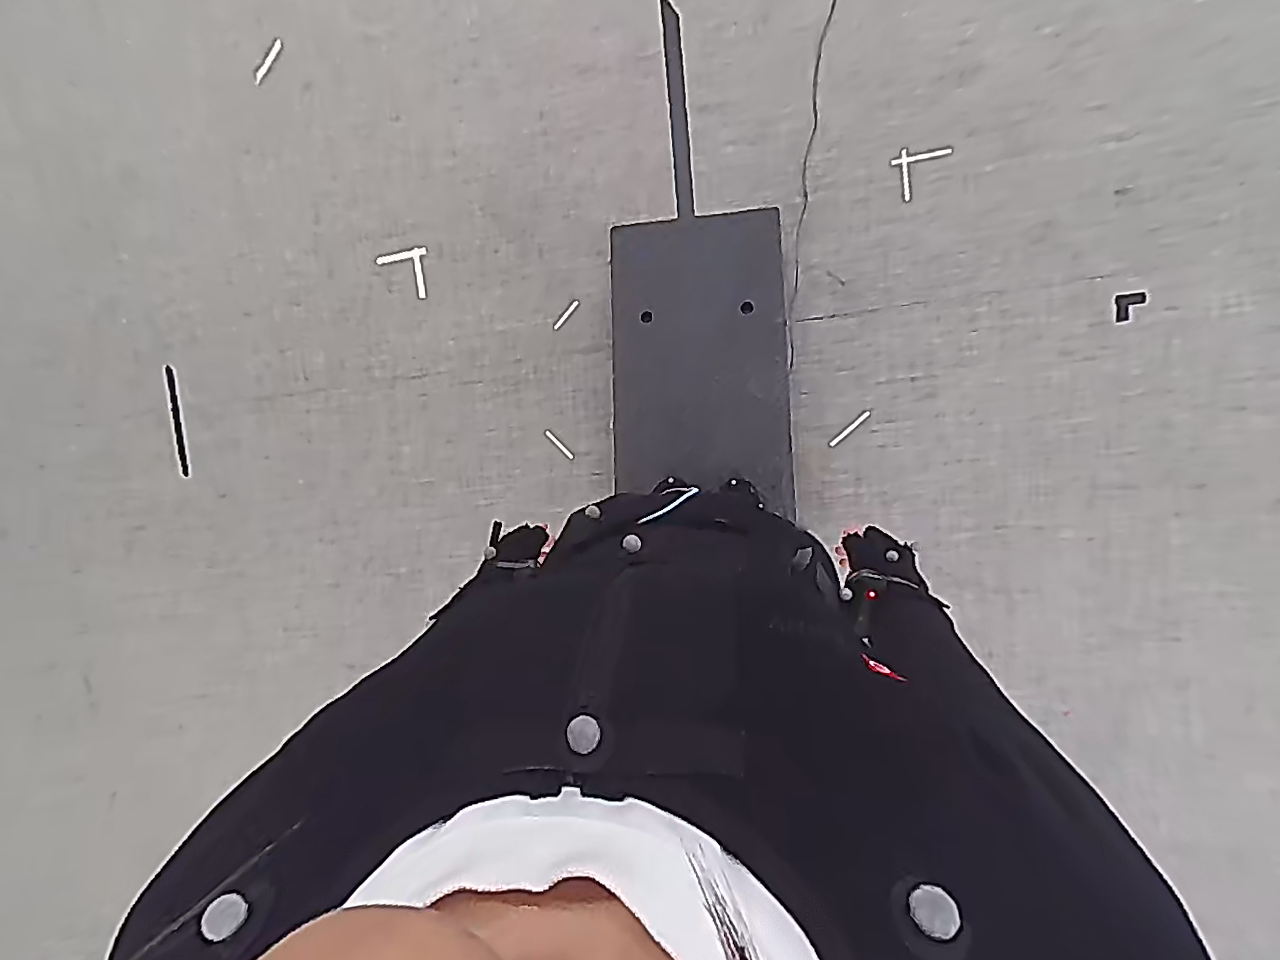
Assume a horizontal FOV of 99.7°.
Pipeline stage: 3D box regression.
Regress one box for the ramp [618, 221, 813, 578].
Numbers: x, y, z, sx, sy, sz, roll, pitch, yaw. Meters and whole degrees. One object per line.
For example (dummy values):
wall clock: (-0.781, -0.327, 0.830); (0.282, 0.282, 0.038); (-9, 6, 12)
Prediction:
ramp: (0.189, -0.236, 1.524); (0.509, 0.206, 0.991); (-6, 91, 11)
